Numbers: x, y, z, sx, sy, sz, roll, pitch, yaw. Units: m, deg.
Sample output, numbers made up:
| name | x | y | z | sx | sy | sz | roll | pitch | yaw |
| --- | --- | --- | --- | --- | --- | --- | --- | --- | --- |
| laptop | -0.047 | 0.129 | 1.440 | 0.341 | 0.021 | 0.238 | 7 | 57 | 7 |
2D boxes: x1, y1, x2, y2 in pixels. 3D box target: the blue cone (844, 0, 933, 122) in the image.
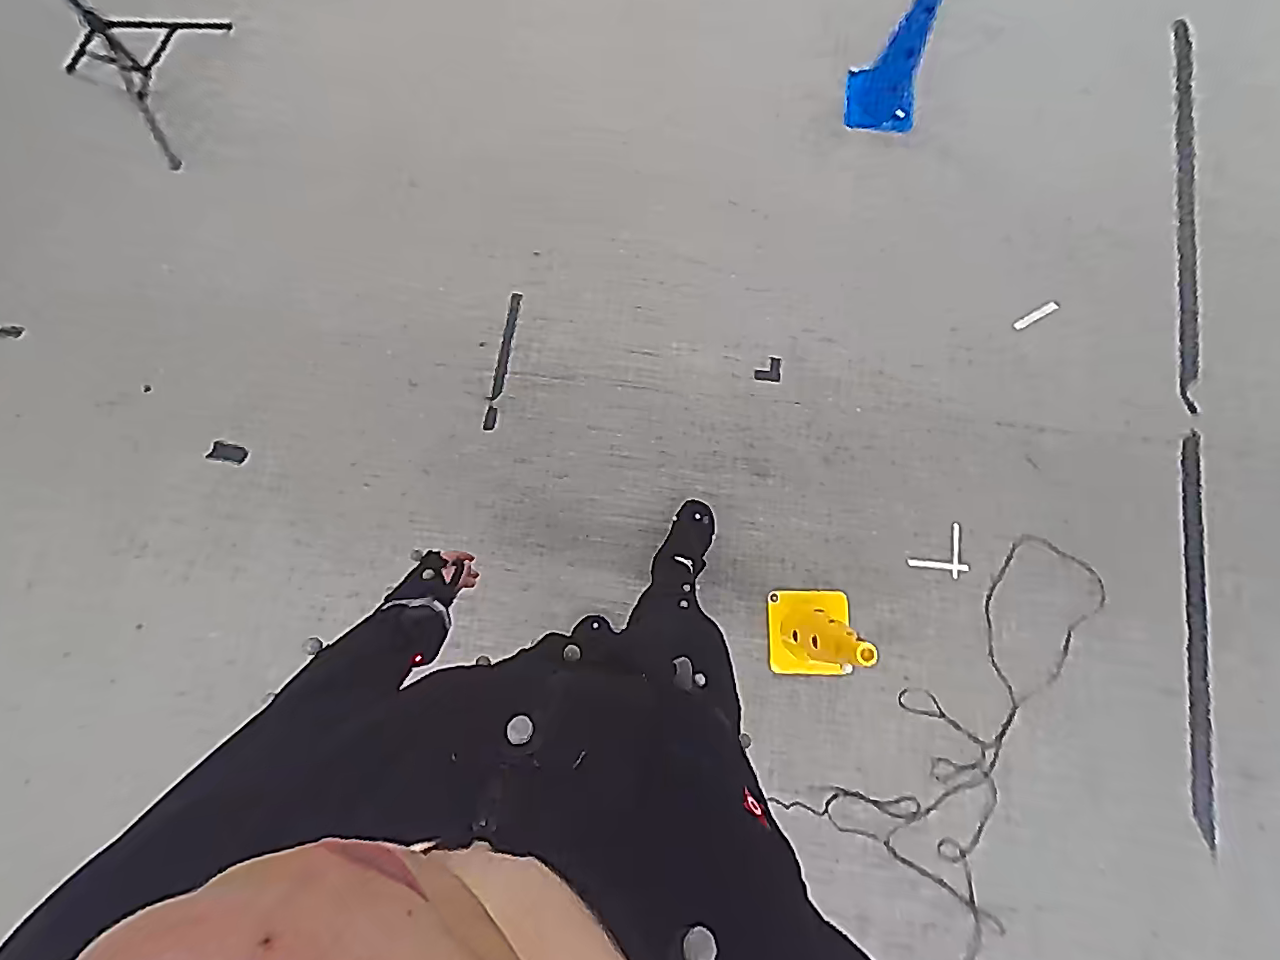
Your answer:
| name | x | y | z | sx | sy | sz | roll | pitch | yaw |
| --- | --- | --- | --- | --- | --- | --- | --- | --- | --- |
| blue cone | 0.687 | -1.151 | 1.406 | 0.192 | 0.380 | 0.193 | 7 | 81 | 3 |
